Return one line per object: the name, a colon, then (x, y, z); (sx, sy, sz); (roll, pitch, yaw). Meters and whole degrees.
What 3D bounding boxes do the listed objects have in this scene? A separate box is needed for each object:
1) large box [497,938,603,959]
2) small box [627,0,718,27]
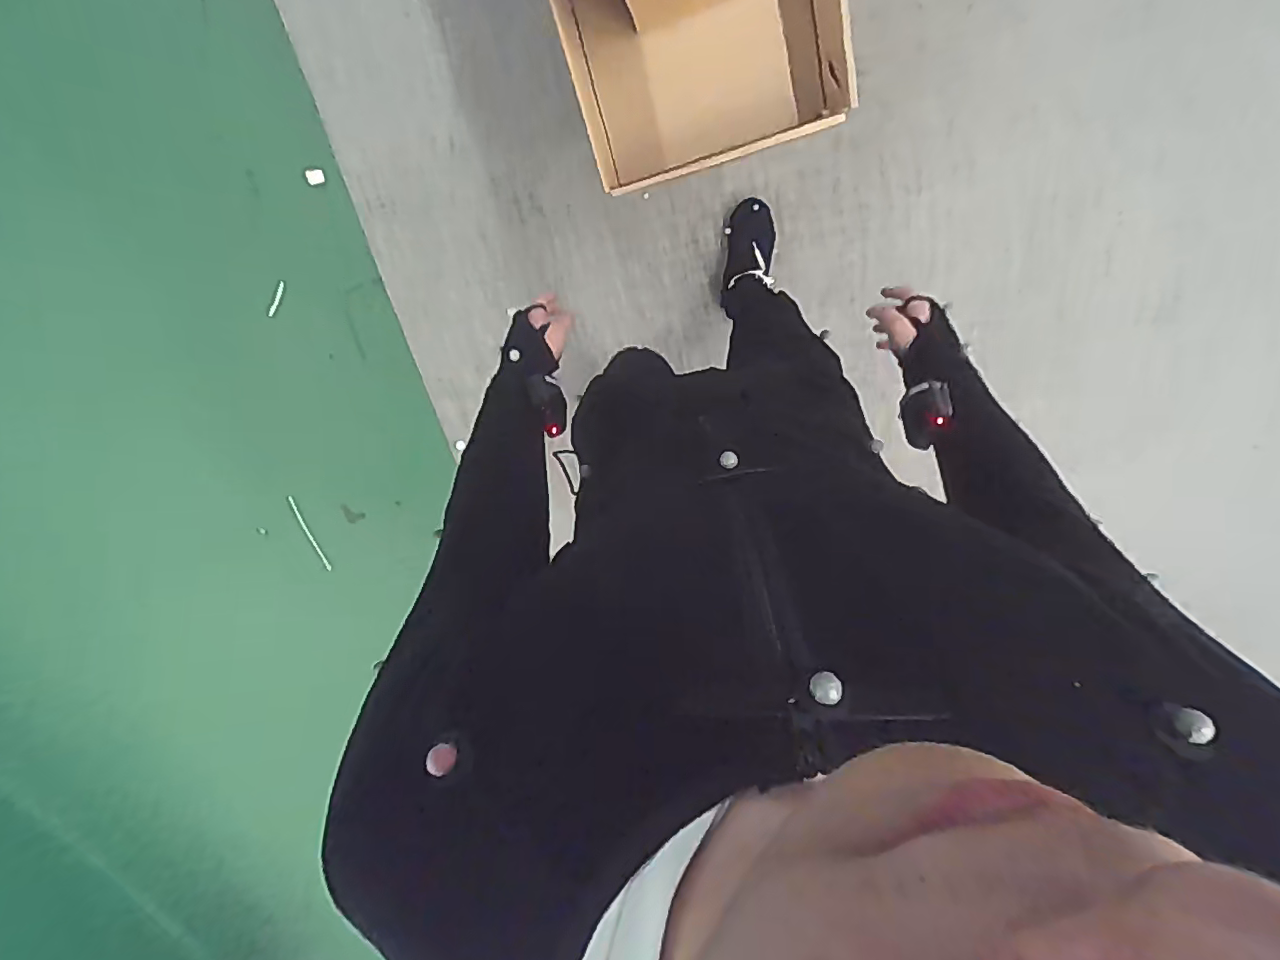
large box: (-0.250, 1.636, 1.586); (0.320, 0.320, 0.408); (-9, 115, 8)
small box: (0.047, -0.787, 0.762); (0.179, 0.176, 0.168); (-12, 113, 11)
